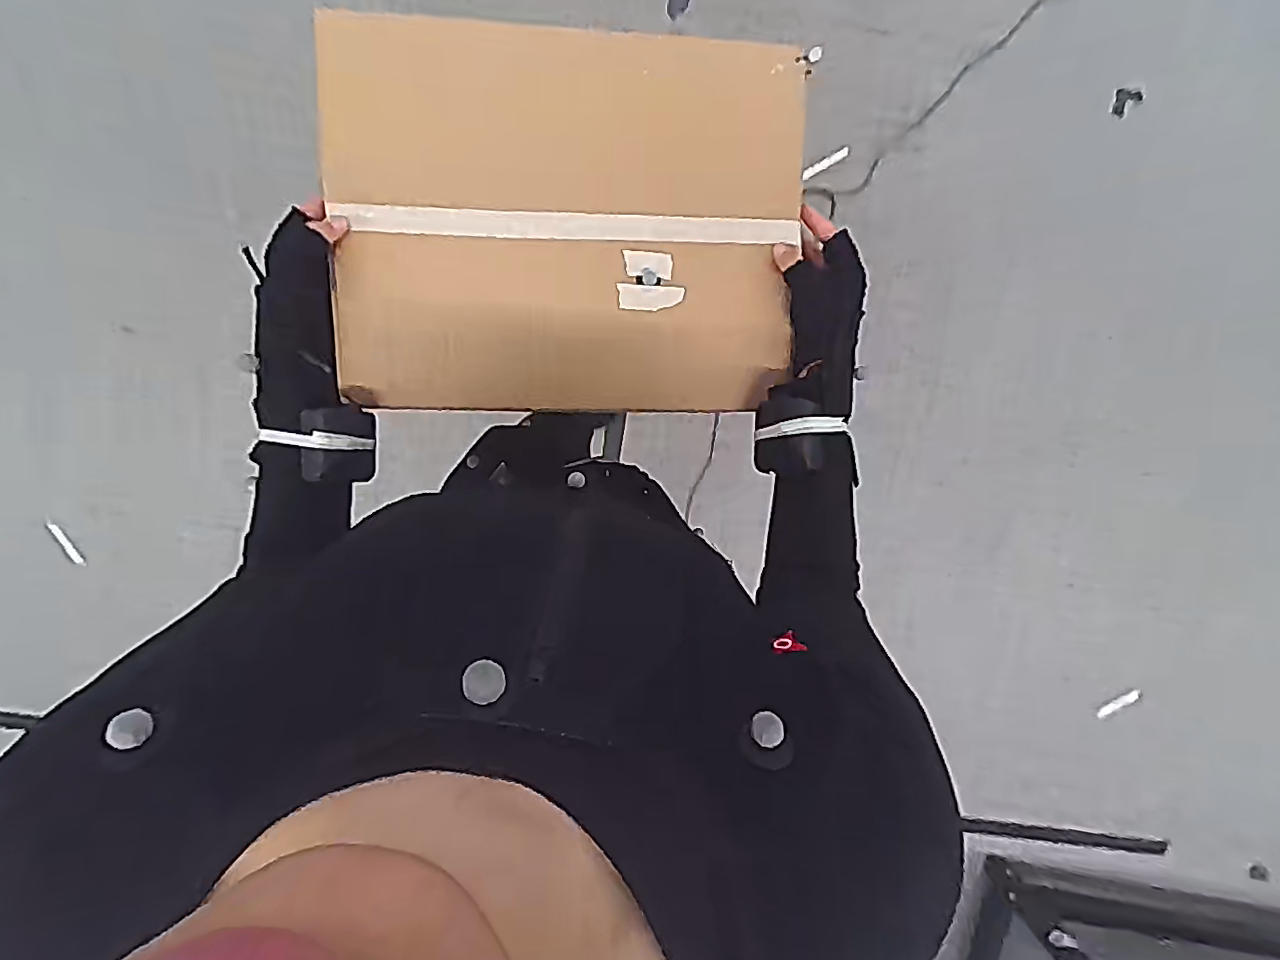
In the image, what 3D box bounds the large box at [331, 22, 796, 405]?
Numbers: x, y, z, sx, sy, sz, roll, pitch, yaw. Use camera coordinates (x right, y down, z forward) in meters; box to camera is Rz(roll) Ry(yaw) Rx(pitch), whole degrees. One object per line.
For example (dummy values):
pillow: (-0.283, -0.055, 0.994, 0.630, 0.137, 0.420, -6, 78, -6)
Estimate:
large box: (-0.073, -0.248, 0.628, 0.408, 0.320, 0.320, -1, 98, -6)
